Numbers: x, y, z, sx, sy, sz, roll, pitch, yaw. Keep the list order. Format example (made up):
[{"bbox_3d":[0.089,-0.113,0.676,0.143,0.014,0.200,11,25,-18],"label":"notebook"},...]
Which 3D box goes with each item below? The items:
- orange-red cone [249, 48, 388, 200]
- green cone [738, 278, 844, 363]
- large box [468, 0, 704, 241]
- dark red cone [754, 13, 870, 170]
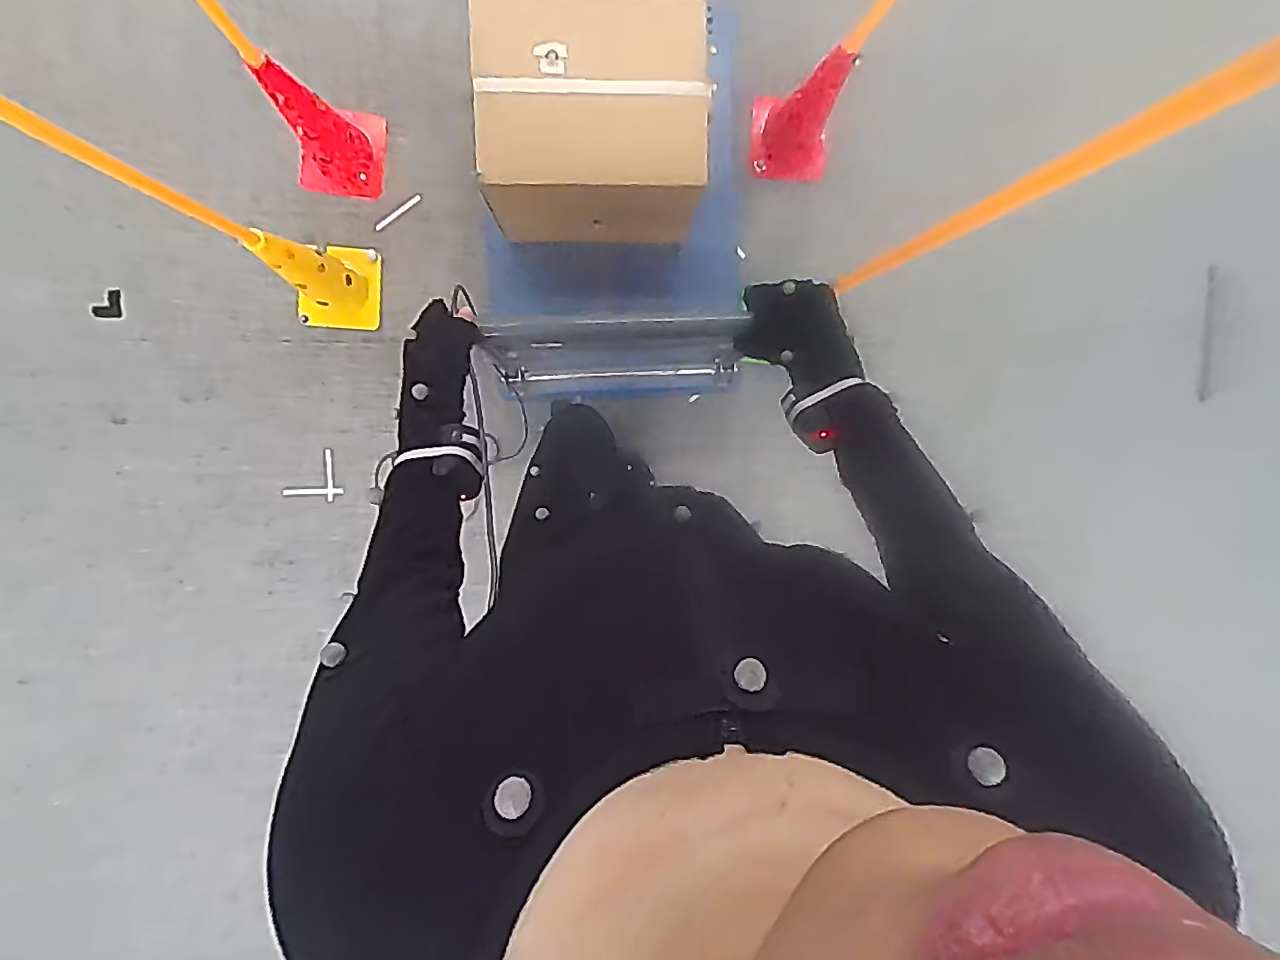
[{"bbox_3d":[-0.726,-0.802,1.182,0.198,0.360,0.199,7,93,-5],"label":"orange-red cone"},{"bbox_3d":[0.380,-0.406,1.284,0.202,0.368,0.200,4,95,-5],"label":"green cone"},{"bbox_3d":[-0.094,-0.688,1.085,0.408,0.320,0.320,-2,95,-3],"label":"large box"},{"bbox_3d":[0.404,-0.887,1.225,0.201,0.394,0.202,0,96,-5],"label":"dark red cone"}]
